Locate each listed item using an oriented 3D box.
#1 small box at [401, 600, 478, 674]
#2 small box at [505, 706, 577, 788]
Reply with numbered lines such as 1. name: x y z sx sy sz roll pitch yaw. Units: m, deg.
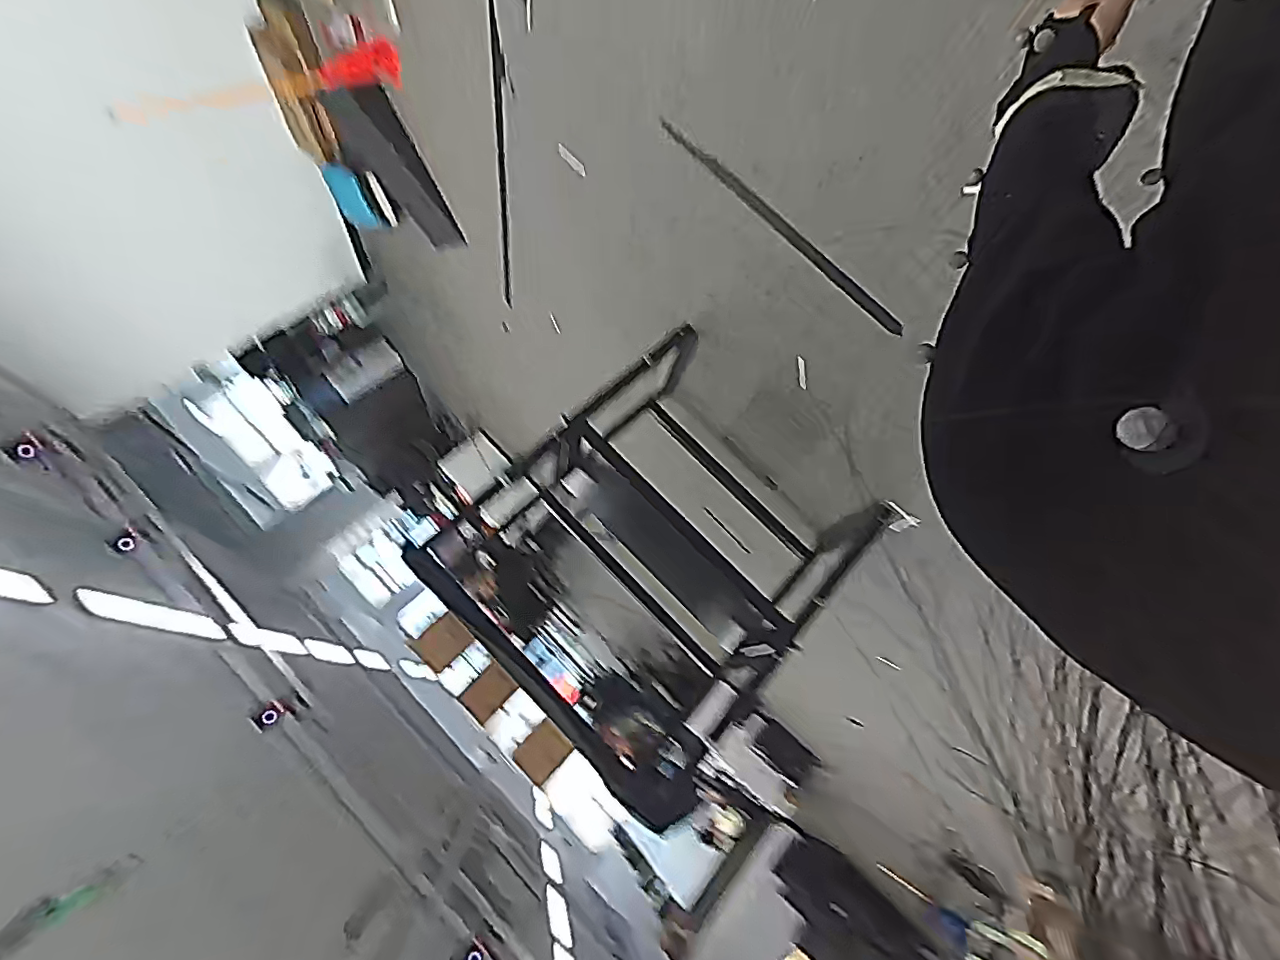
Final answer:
1. small box: -0.660 0.523 1.806 0.168 0.176 0.179 44 158 5
2. small box: -0.324 0.867 1.776 0.168 0.176 0.179 46 159 4
